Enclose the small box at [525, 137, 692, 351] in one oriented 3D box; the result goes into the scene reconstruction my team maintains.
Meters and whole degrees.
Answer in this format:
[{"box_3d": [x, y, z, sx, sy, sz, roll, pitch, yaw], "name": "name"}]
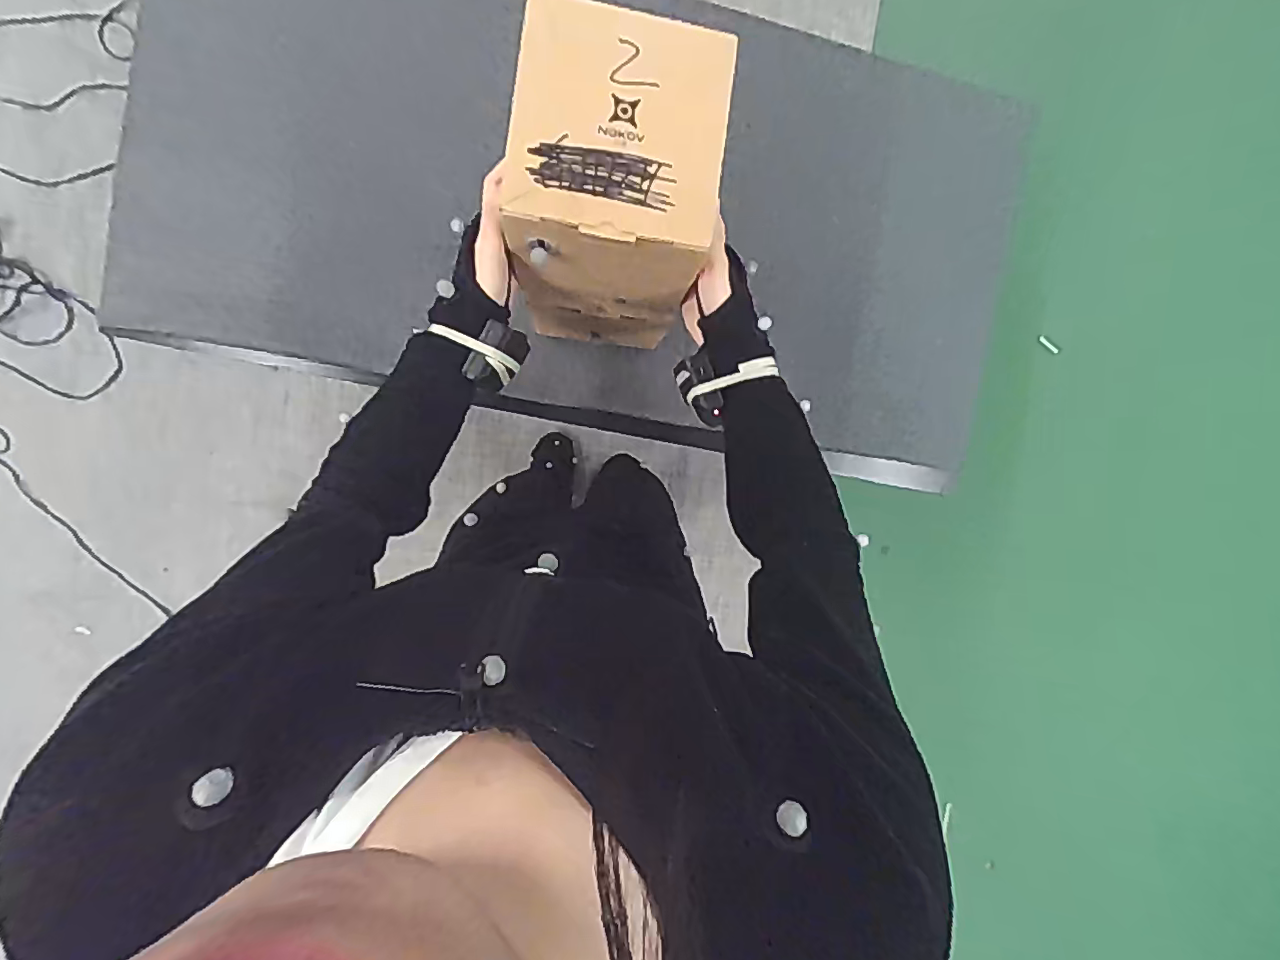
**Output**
[{"box_3d": [-0.042, -0.269, 0.658, 0.168, 0.176, 0.179, 6, 92, -7], "name": "small box"}]
